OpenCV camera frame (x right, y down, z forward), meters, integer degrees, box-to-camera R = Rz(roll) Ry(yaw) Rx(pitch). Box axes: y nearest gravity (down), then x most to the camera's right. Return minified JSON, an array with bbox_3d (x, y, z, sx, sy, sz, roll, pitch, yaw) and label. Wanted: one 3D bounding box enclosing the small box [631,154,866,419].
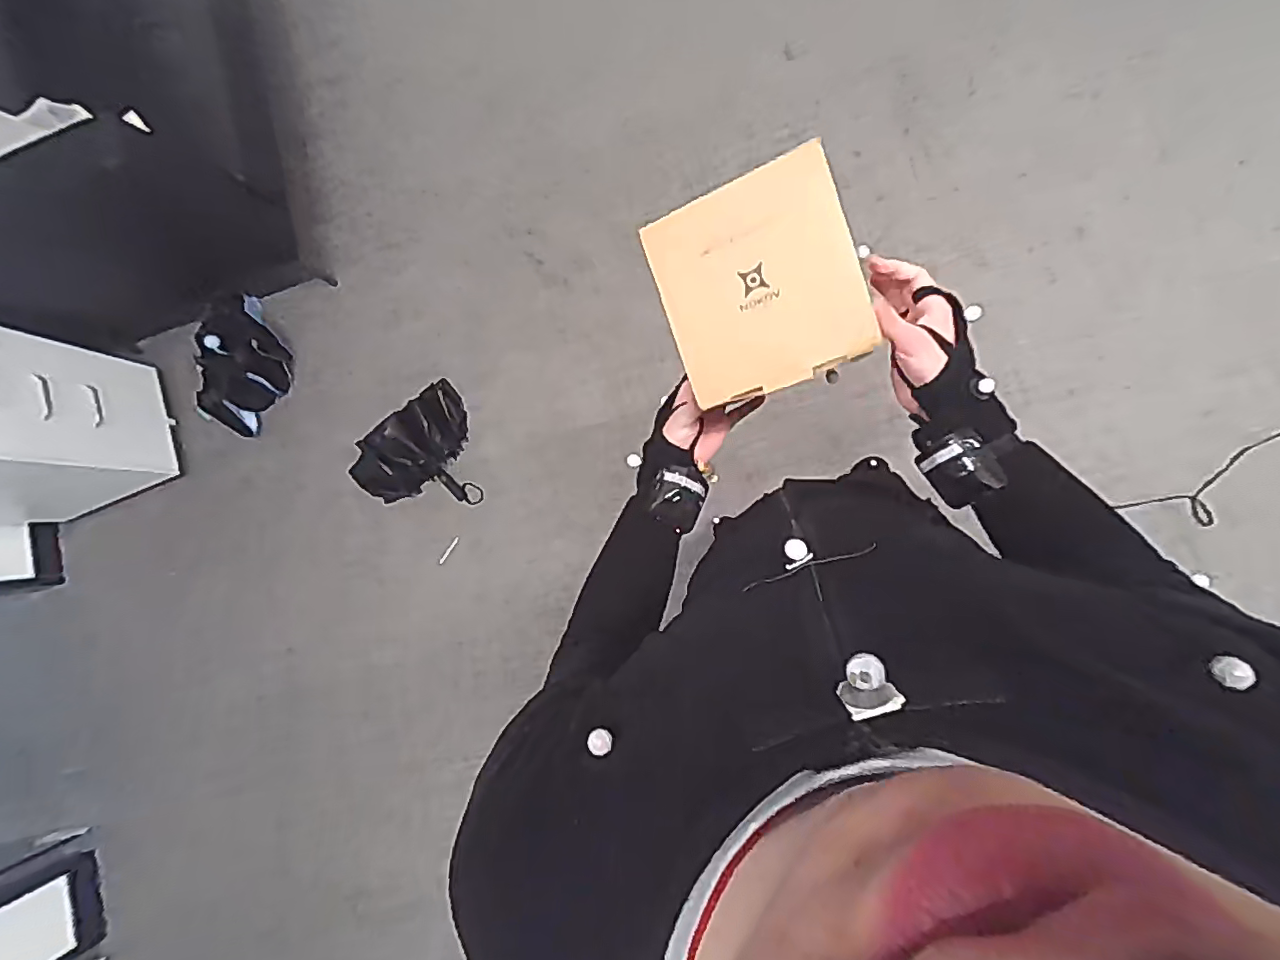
[{"bbox_3d":[0.116,-0.173,0.539,0.168,0.176,0.179,-17,93,21],"label":"small box"}]
